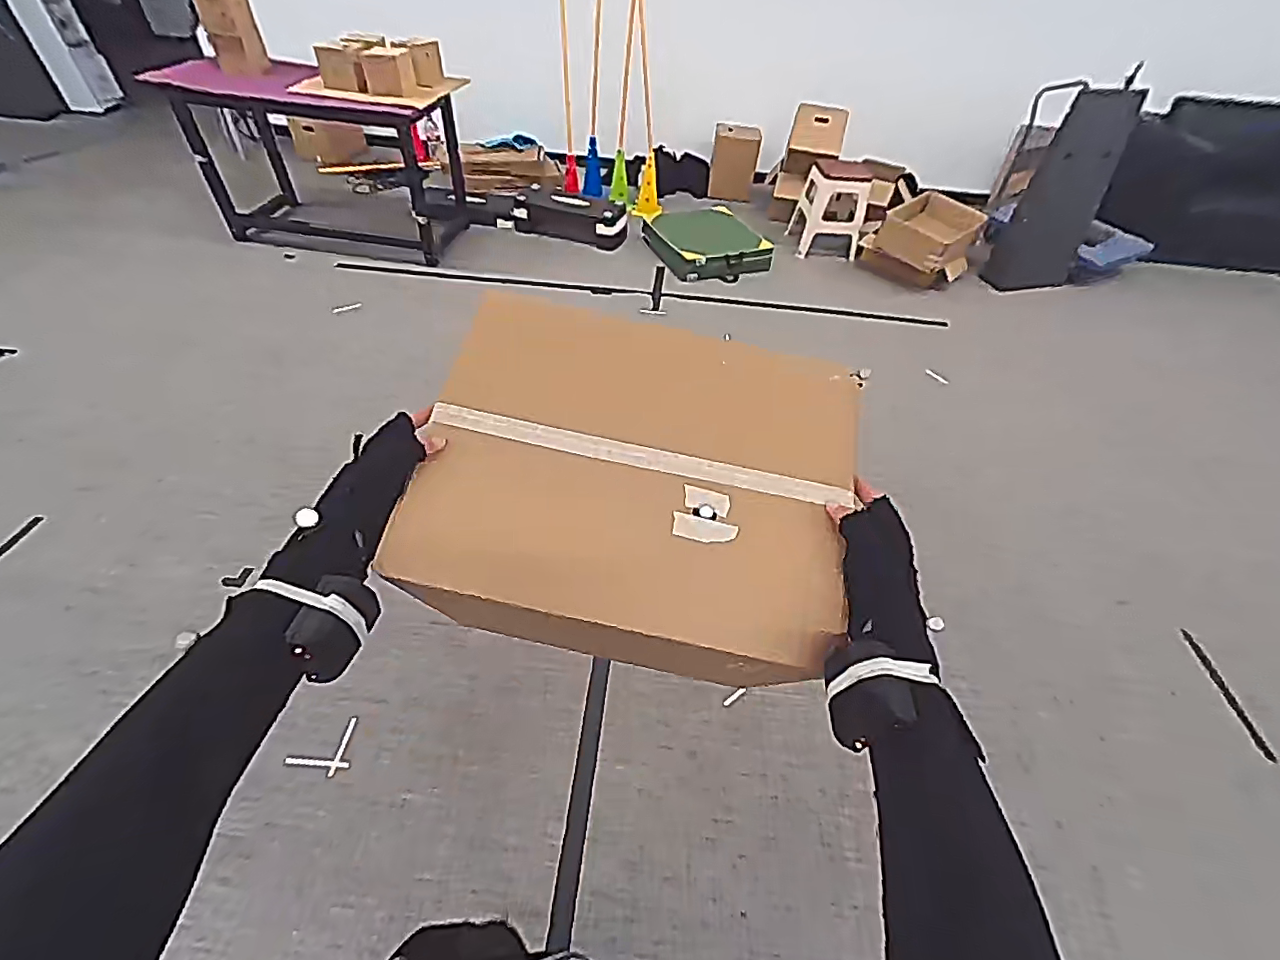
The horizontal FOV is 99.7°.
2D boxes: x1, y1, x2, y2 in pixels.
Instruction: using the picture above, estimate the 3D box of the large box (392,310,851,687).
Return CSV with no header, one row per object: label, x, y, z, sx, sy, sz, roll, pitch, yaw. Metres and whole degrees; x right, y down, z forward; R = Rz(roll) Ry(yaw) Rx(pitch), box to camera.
large box,-0.009,0.049,0.658,0.408,0.320,0.320,13,68,-1
